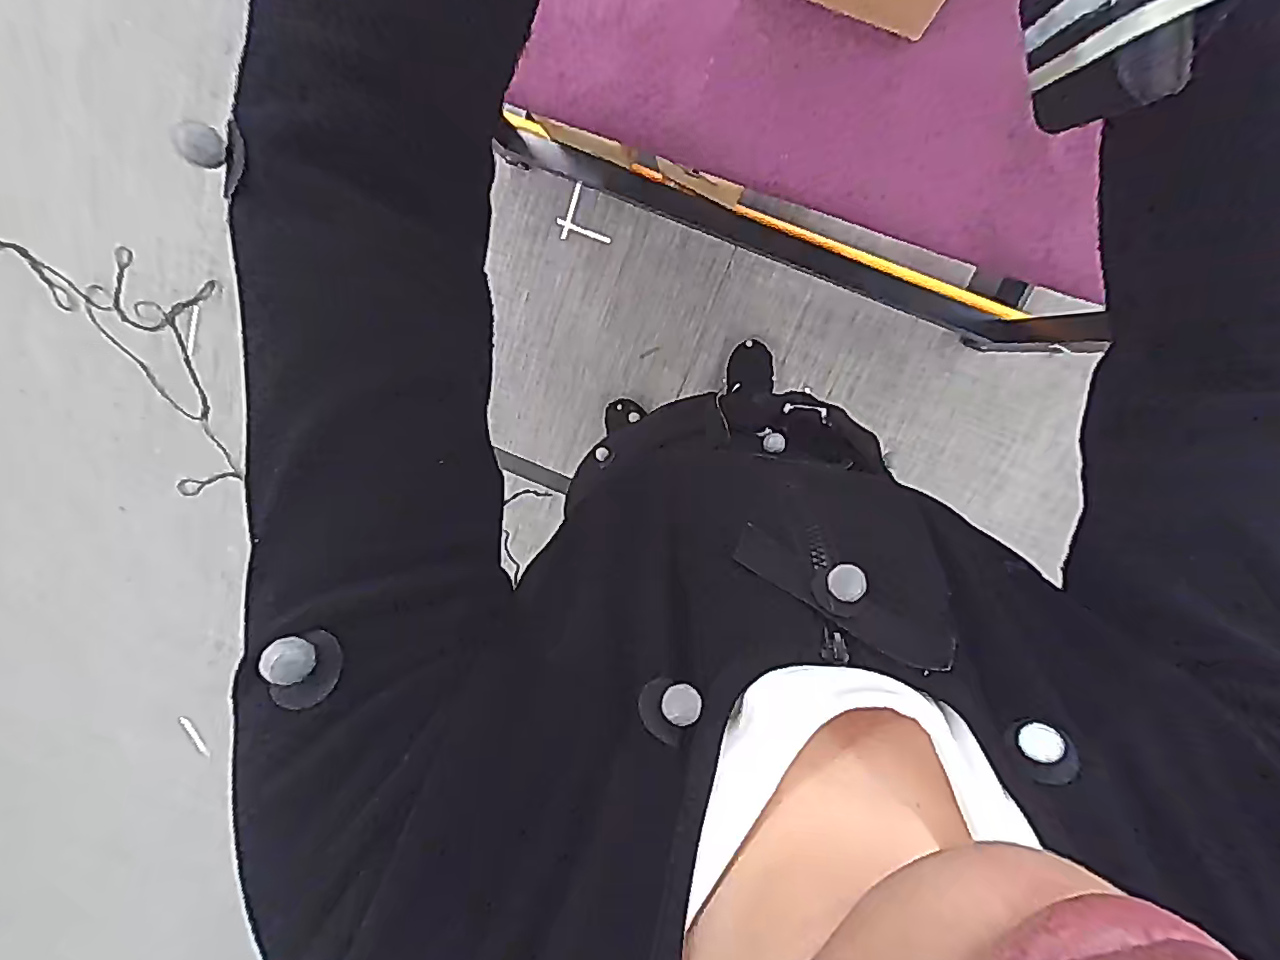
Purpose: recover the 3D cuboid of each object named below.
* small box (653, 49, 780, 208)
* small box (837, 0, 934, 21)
[{"bbox_3d":[0.141,-0.646,1.022,0.168,0.176,0.179,27,106,-2],"label":"small box"},{"bbox_3d":[0.203,-0.503,0.408,0.179,0.176,0.168,22,104,1],"label":"small box"}]
